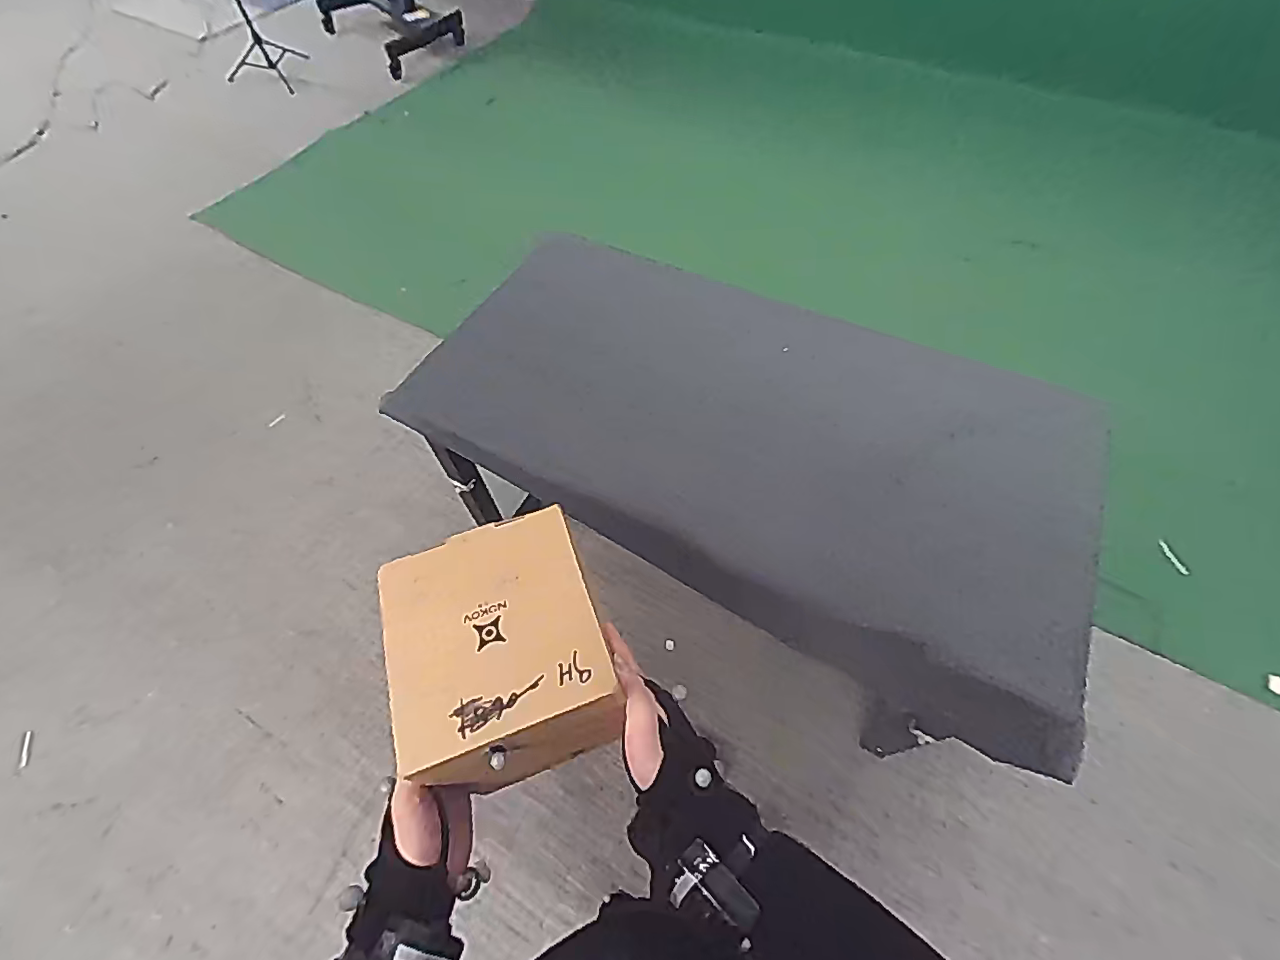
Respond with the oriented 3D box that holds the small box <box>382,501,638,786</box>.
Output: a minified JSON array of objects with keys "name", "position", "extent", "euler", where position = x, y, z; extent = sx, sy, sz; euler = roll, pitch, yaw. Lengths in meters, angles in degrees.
[{"name":"small box","position":[-0.112,0.155,0.497],"extent":[0.168,0.176,0.179],"euler":[-21,56,-5]}]
